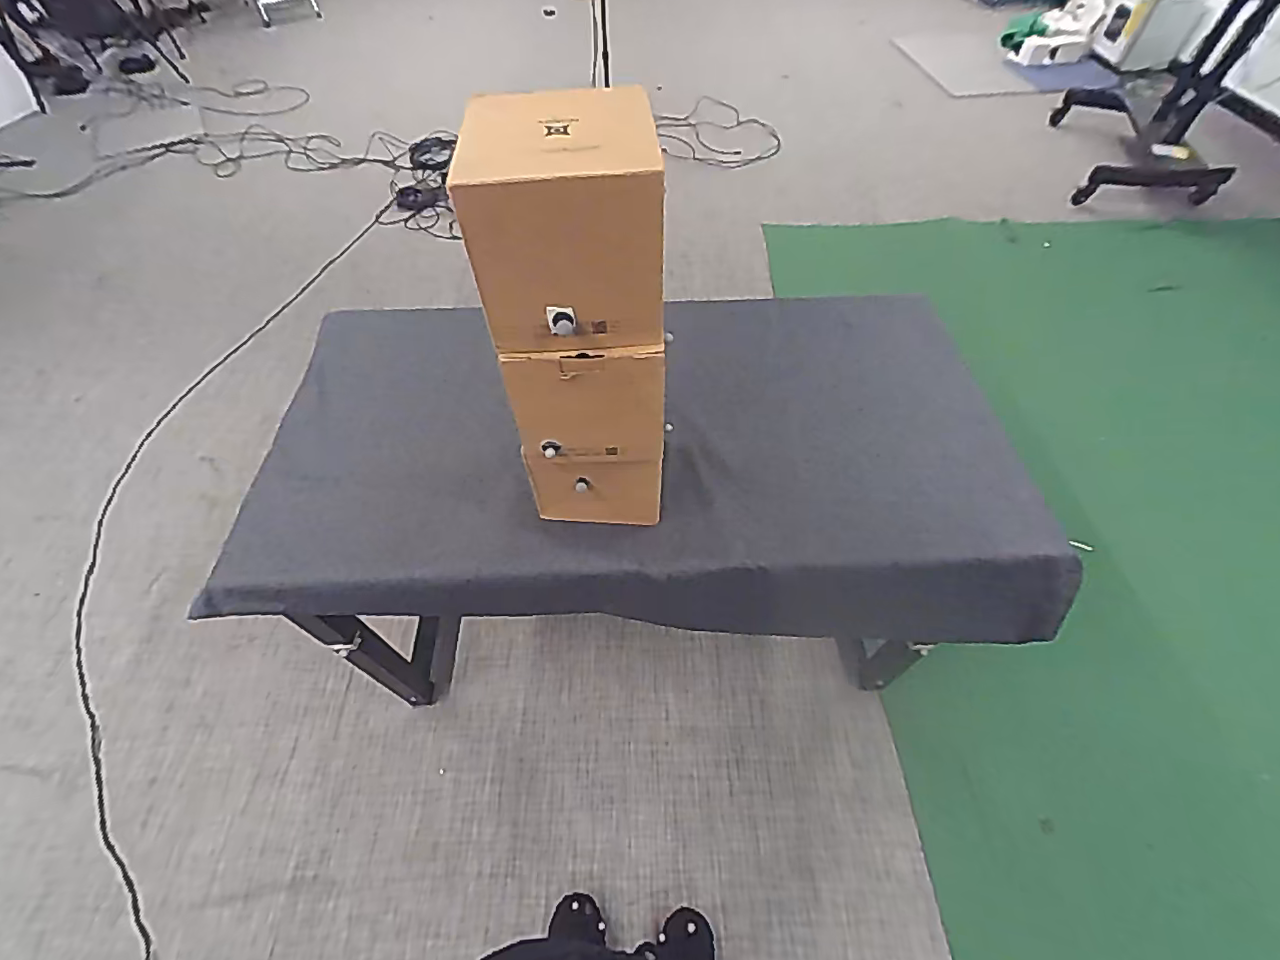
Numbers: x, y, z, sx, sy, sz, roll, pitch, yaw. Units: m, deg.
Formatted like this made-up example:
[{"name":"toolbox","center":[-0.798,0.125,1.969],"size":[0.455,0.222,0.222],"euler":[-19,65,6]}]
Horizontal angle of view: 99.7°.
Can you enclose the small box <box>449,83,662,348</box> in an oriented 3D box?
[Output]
[{"name":"small box","center":[-0.069,-0.252,0.526],"size":[0.168,0.176,0.179],"euler":[-6,55,-1]}]

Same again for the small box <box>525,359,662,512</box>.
[{"name":"small box","center":[-0.056,-0.064,0.795],"size":[0.179,0.176,0.168],"euler":[1,53,1]}]

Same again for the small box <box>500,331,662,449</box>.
[{"name":"small box","center":[-0.062,-0.149,0.651],"size":[0.168,0.176,0.179],"euler":[-4,56,-1]}]
